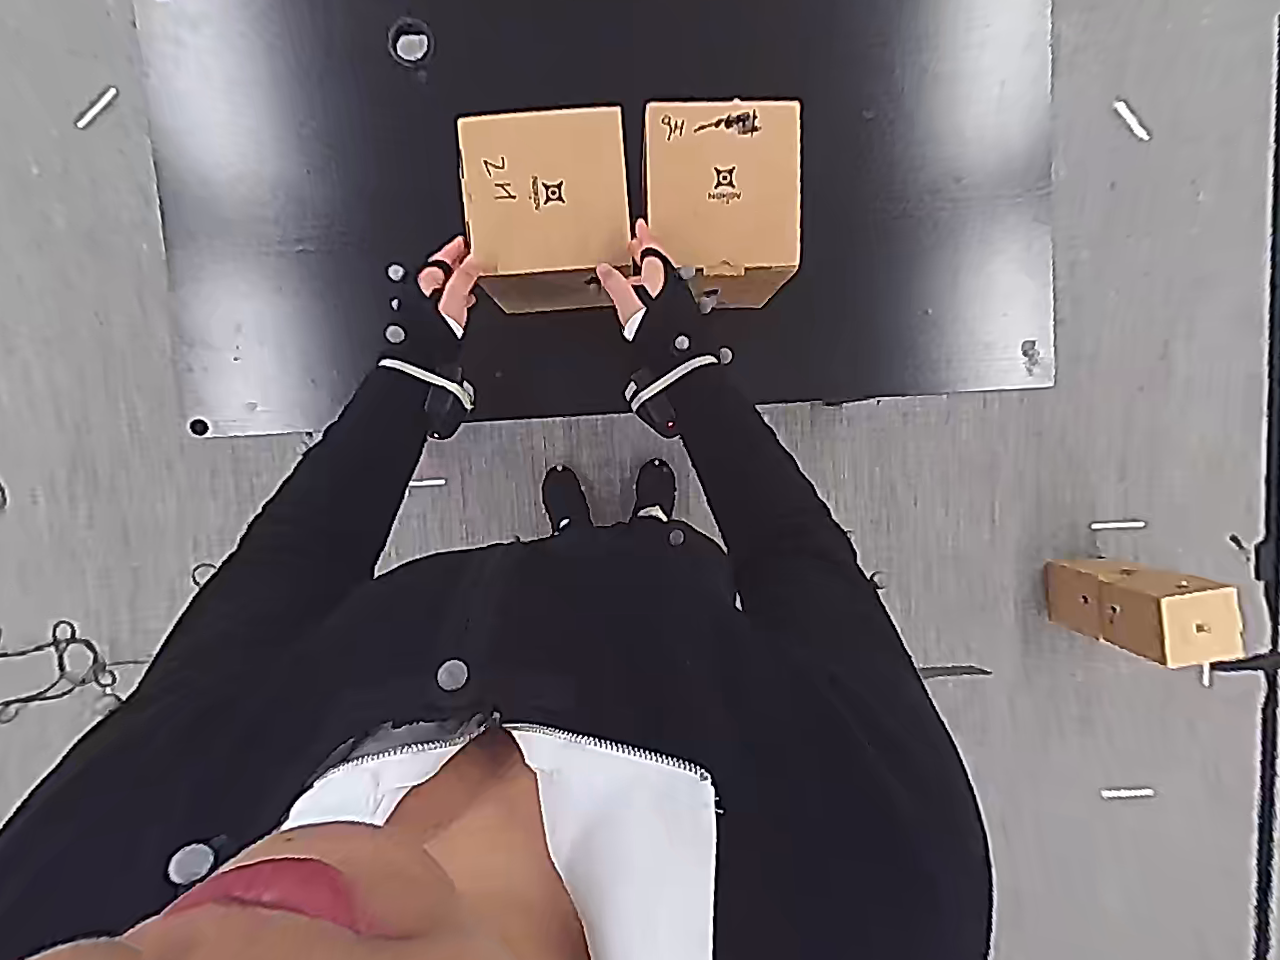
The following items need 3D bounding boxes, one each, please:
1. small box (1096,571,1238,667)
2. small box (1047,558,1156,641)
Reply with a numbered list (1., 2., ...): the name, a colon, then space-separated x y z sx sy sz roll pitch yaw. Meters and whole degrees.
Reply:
1. small box: 1.251 0.325 1.294 0.179 0.176 0.168 -9 93 1
2. small box: 1.237 0.313 1.456 0.168 0.176 0.179 -6 95 0
